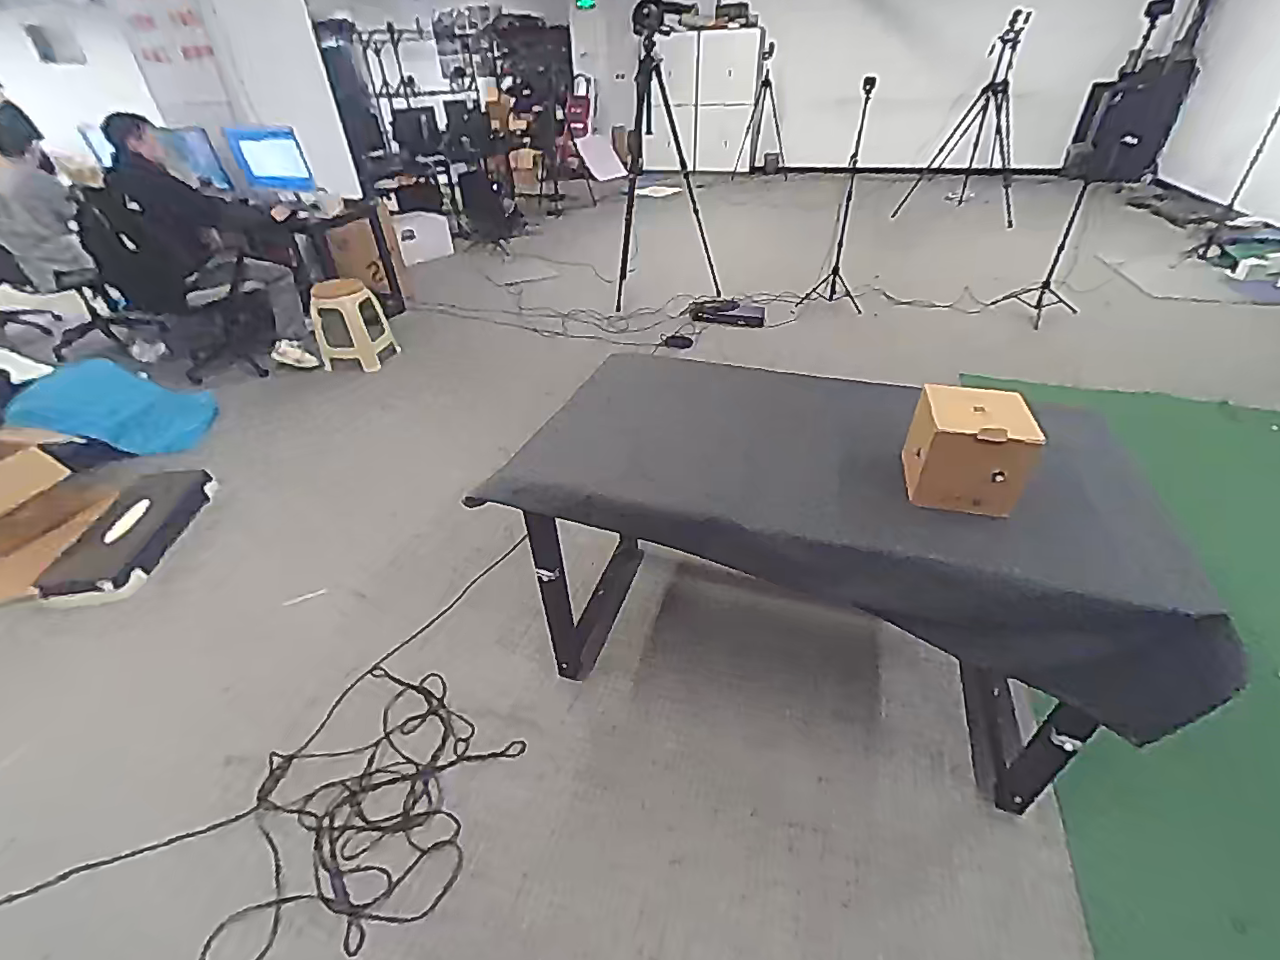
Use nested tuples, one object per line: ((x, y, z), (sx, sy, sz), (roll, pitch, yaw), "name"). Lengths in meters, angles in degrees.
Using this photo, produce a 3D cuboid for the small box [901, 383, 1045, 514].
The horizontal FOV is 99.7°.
((0.595, -0.058, 0.991), (0.168, 0.176, 0.179), (9, 37, 13), "small box")
